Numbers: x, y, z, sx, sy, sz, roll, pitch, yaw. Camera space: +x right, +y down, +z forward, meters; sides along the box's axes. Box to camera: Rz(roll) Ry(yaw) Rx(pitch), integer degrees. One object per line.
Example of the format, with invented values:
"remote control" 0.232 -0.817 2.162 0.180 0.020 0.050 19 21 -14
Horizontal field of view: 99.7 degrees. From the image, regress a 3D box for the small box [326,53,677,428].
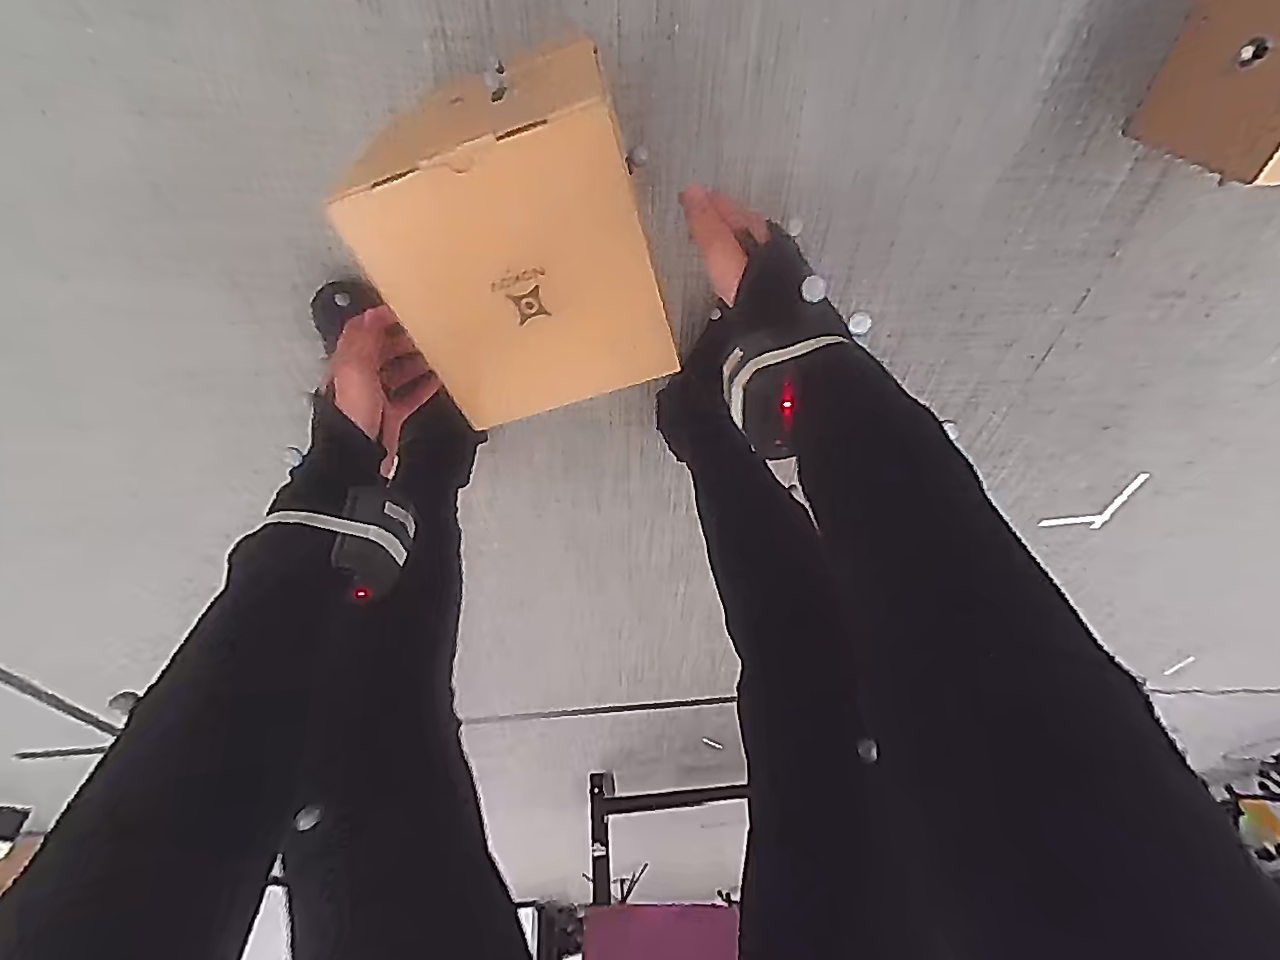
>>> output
"small box" -0.077 -0.171 0.396 0.168 0.176 0.179 -15 135 8
